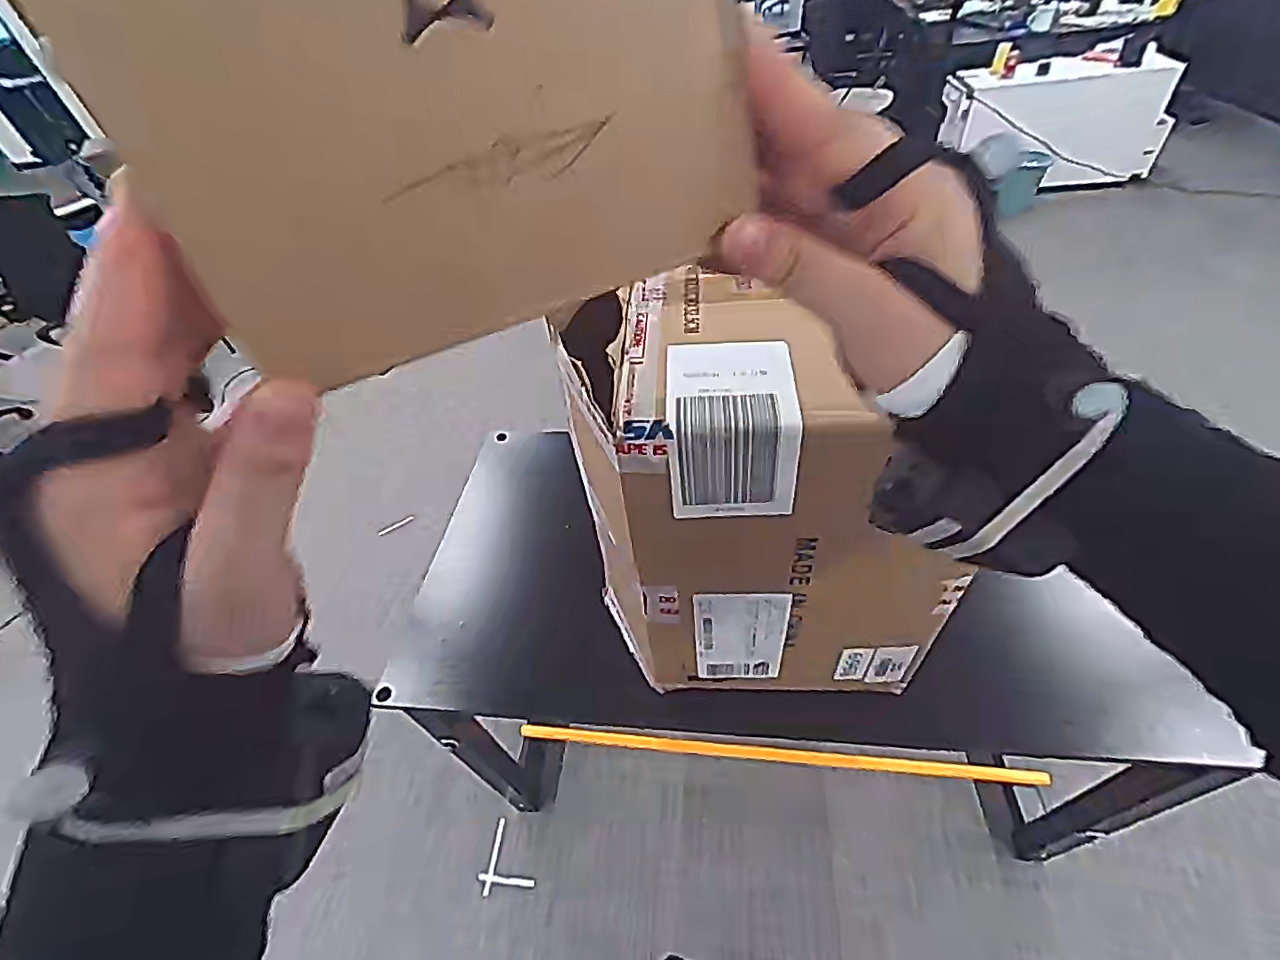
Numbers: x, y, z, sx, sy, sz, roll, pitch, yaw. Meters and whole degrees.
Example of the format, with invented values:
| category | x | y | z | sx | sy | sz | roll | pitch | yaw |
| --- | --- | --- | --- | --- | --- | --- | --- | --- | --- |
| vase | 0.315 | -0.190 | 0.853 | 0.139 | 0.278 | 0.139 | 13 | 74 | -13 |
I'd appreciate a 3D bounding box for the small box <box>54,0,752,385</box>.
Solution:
| category | x | y | z | sx | sy | sz | roll | pitch | yaw |
| --- | --- | --- | --- | --- | --- | --- | --- | --- | --- |
| small box | -0.081 | -0.161 | 0.206 | 0.168 | 0.179 | 0.176 | -23 | 31 | -11 |
